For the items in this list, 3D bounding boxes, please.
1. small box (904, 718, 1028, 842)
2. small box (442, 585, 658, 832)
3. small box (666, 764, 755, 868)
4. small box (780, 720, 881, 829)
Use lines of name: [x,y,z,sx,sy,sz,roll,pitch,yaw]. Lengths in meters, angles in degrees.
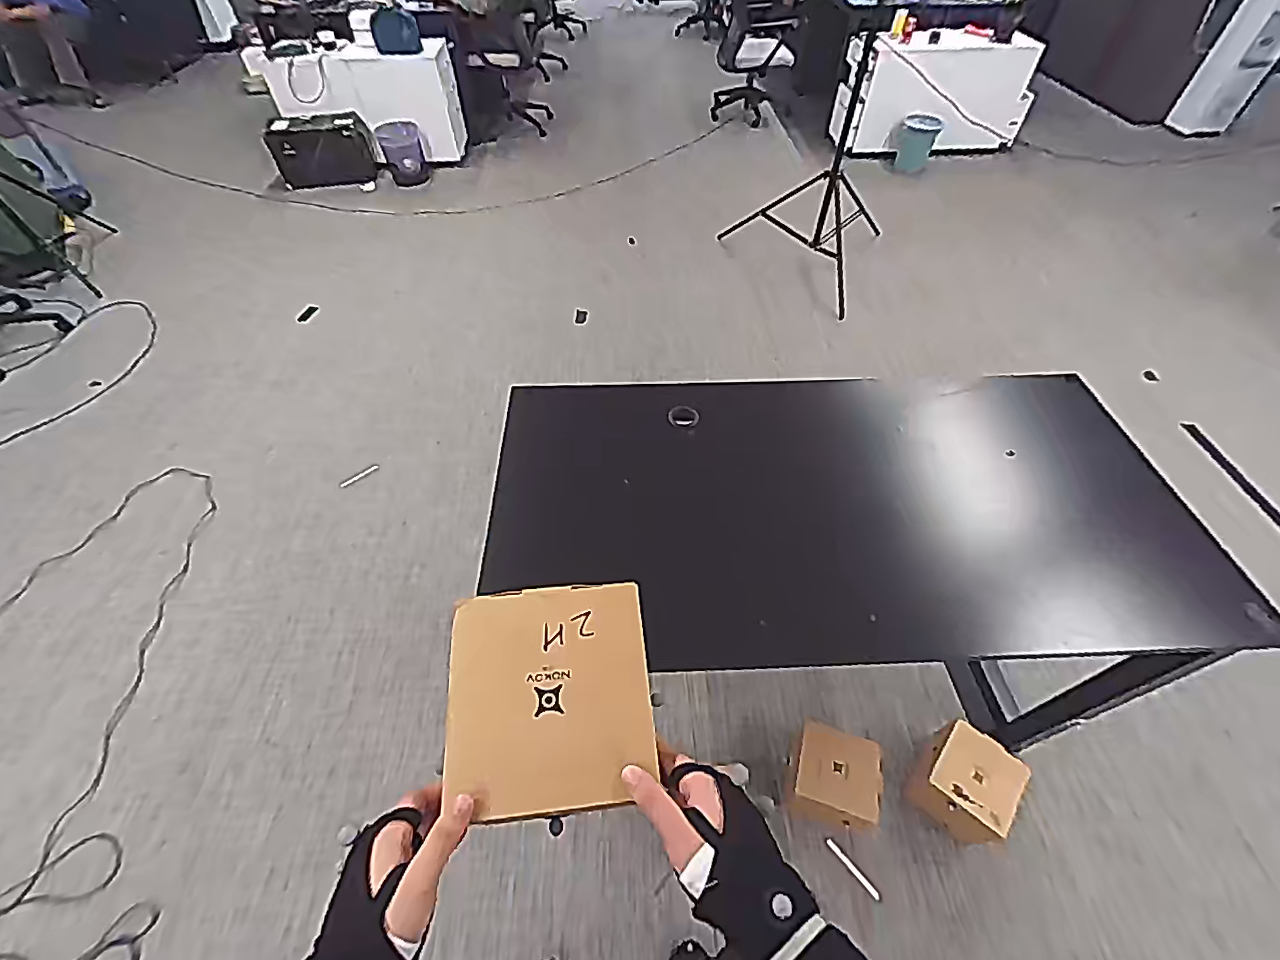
small box: [0.742,0.693,1.247,0.168,0.176,0.179,34,59,25]
small box: [-0.077,0.218,0.512,0.168,0.176,0.179,-5,58,-6]
small box: [0.148,0.750,1.205,0.168,0.176,0.179,-3,52,-2]
small box: [0.439,0.688,1.255,0.179,0.176,0.168,14,52,12]
